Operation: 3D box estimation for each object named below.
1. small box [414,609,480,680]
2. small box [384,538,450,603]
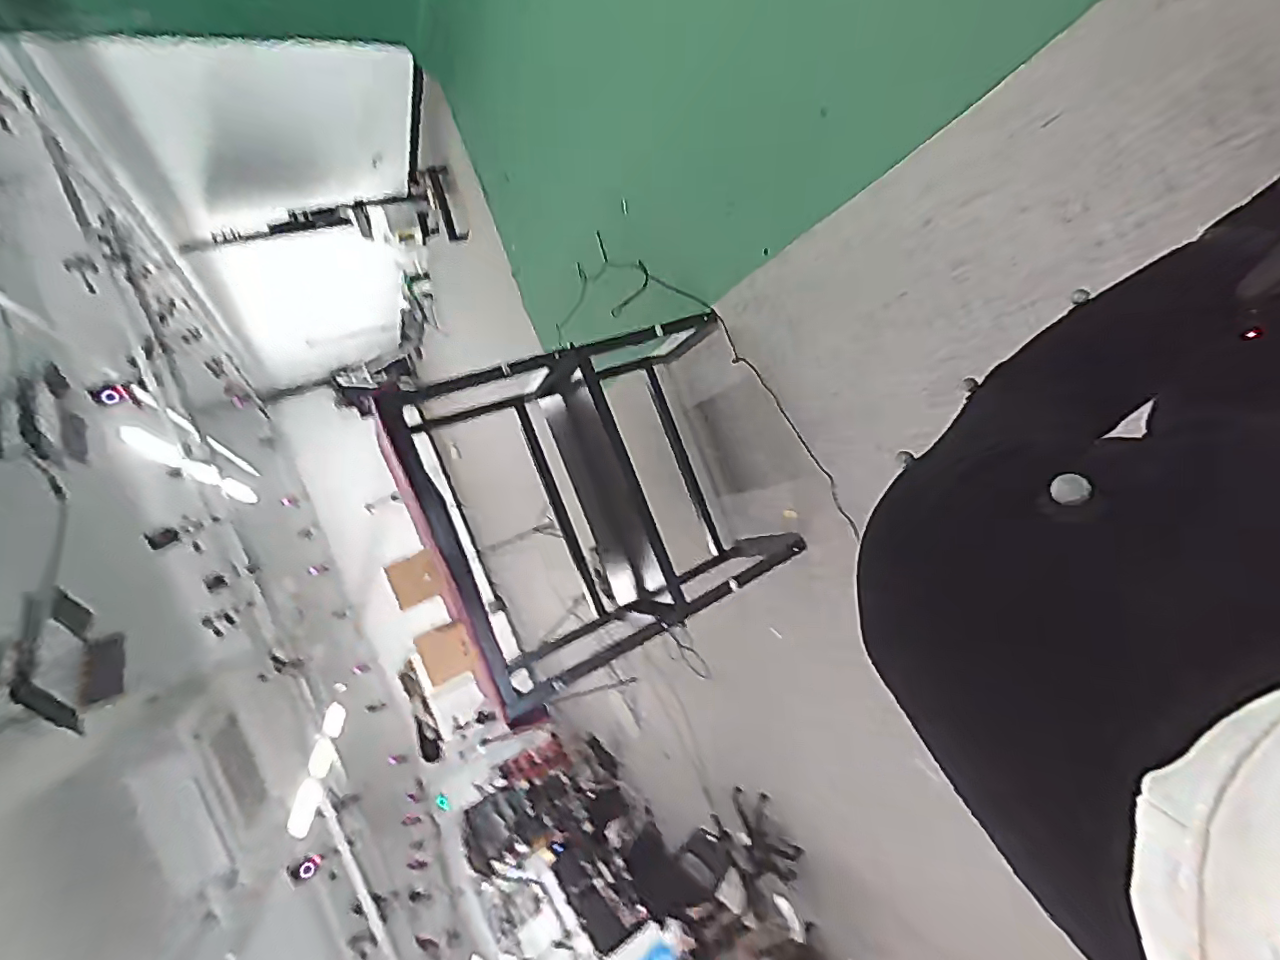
[{"bbox_3d":[-0.676,0.568,1.893,0.179,0.176,0.168,-10,102,64],"label":"small box"},{"bbox_3d":[-0.775,0.309,1.879,0.179,0.176,0.168,-13,99,64],"label":"small box"}]
